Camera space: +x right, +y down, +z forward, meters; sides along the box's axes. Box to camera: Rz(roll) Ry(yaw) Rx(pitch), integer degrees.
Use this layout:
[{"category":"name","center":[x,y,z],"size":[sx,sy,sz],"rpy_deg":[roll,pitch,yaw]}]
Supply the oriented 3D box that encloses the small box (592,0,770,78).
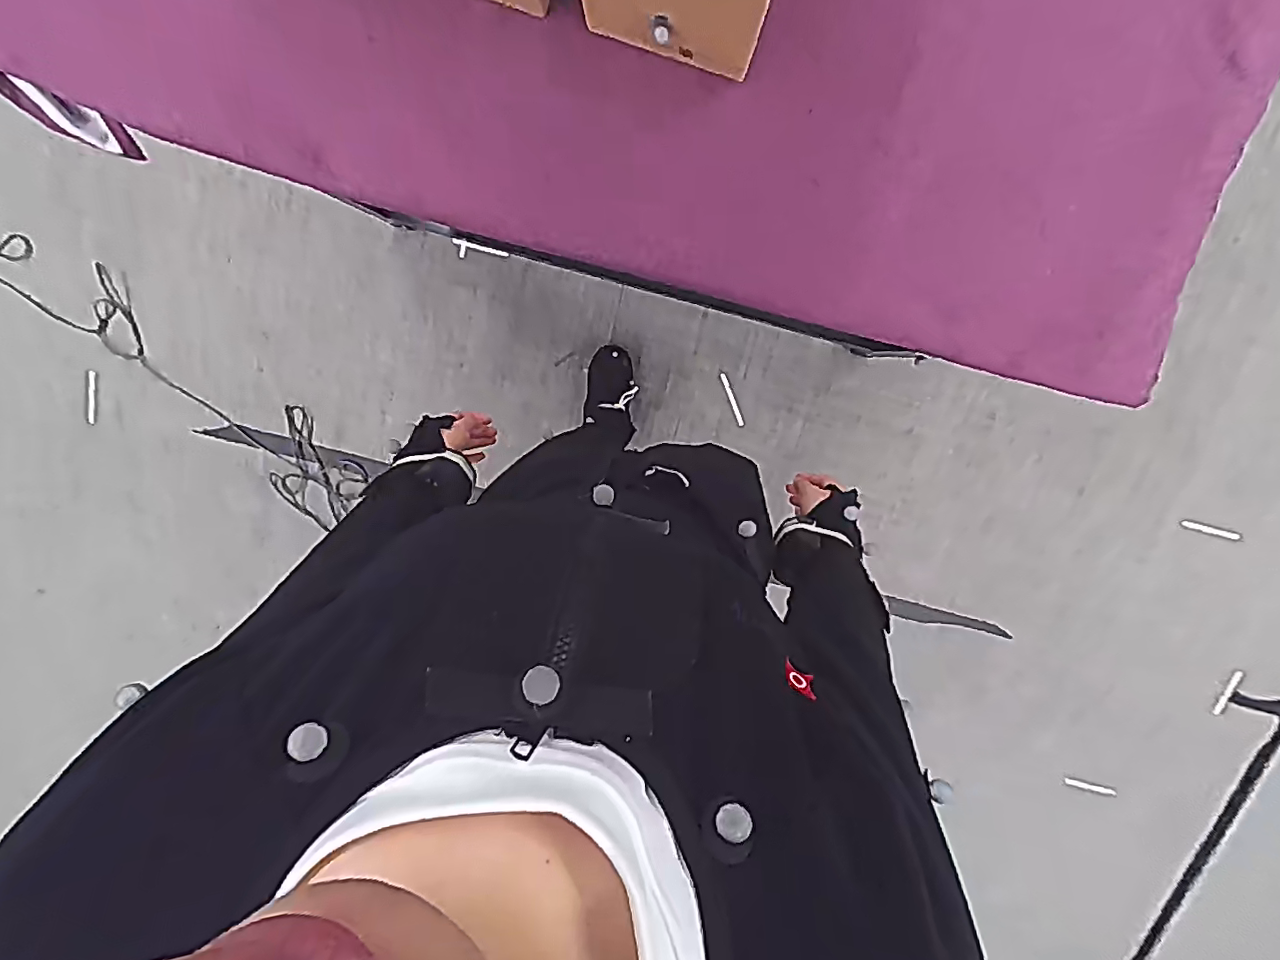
[{"category":"small box","center":[0.048,-0.486,0.442],"size":[0.168,0.176,0.179],"rpy_deg":[18,103,-2]}]
